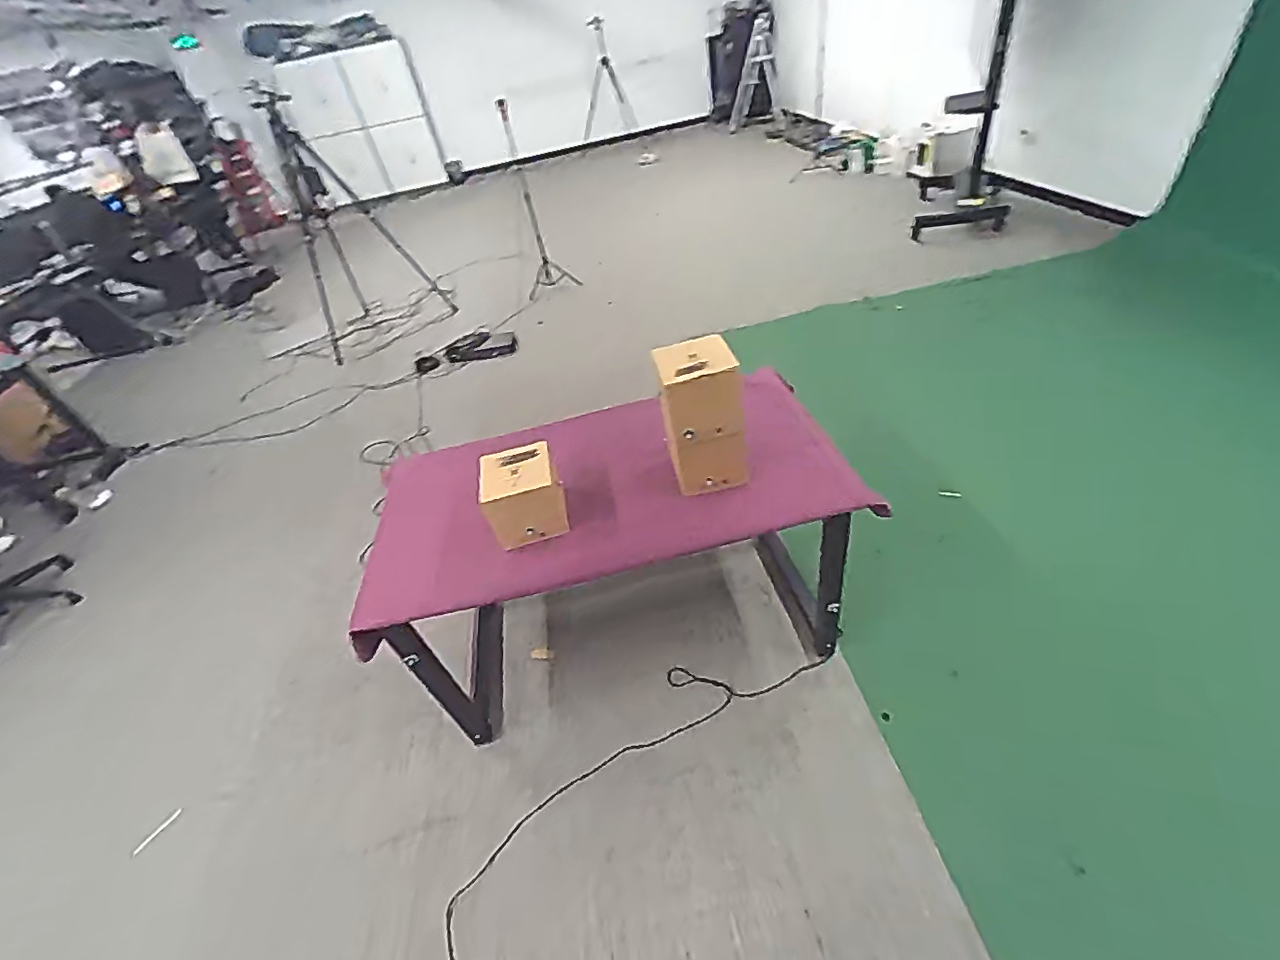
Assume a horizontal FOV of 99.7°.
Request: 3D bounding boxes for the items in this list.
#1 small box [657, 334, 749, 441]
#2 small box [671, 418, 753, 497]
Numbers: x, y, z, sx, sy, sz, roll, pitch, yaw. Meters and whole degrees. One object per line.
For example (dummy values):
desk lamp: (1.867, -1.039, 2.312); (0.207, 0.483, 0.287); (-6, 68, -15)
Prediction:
small box: (0.144, -0.205, 1.234); (0.168, 0.176, 0.179); (-14, 38, 1)
small box: (0.175, -0.085, 1.341); (0.168, 0.176, 0.179); (-14, 40, 2)
